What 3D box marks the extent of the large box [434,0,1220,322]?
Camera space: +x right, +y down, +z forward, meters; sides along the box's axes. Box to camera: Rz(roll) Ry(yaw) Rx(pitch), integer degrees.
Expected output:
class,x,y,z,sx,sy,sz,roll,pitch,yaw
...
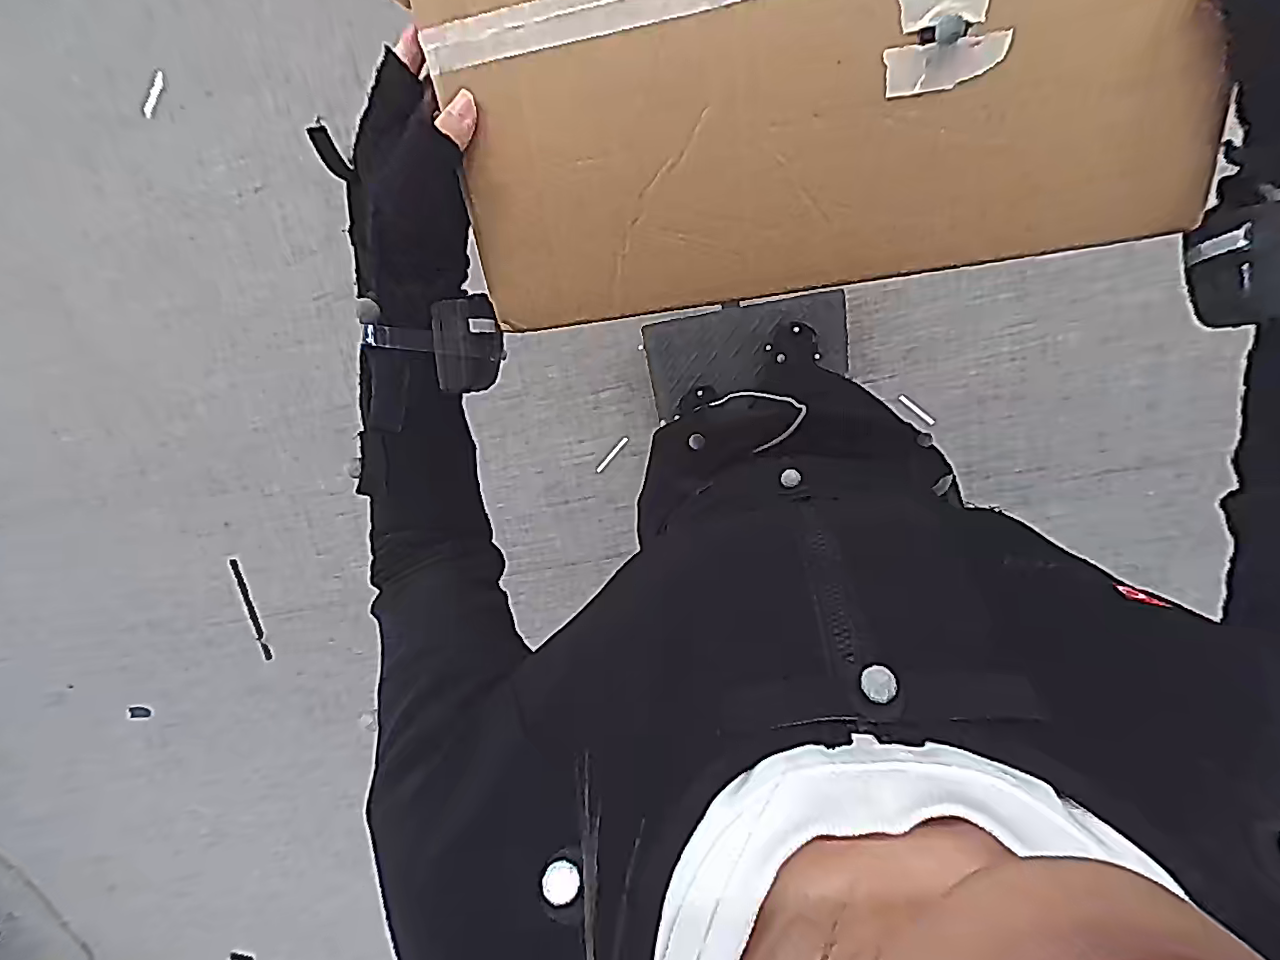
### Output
class,x,y,z,sx,sy,sz,roll,pitch,yaw
large box,0.097,-0.330,0.412,0.408,0.320,0.320,-6,115,9

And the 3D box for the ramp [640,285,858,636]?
class,x,y,z,sx,sy,sz,roll,pitch,yaw
ramp,0.334,0.019,1.499,0.509,0.206,0.991,-10,103,10
